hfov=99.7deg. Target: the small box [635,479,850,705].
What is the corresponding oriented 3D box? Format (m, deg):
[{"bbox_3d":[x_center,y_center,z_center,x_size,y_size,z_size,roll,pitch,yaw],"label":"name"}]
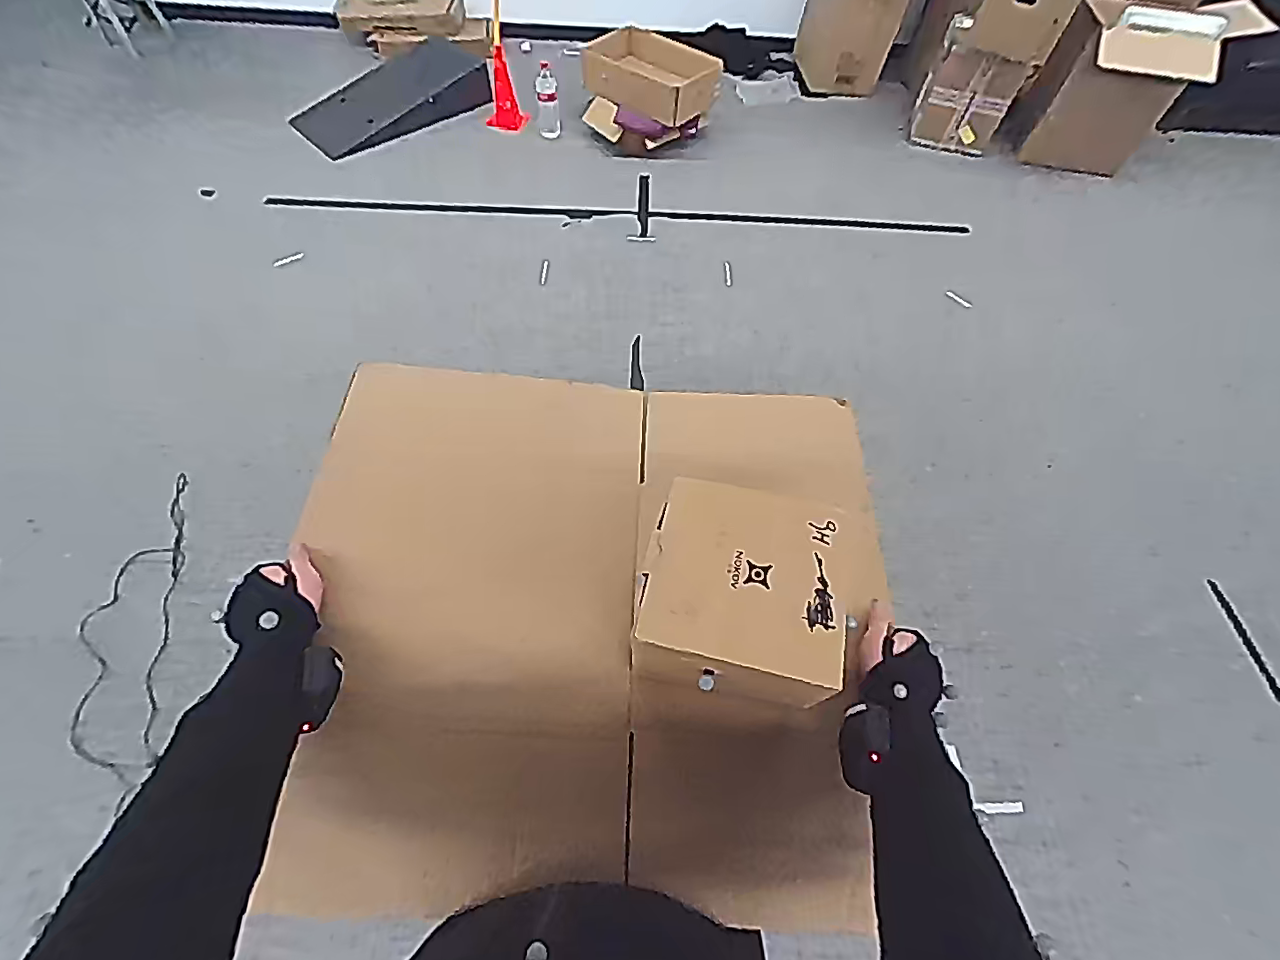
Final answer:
[{"bbox_3d":[0.102,0.122,0.561,0.179,0.176,0.168,11,61,9],"label":"small box"}]
